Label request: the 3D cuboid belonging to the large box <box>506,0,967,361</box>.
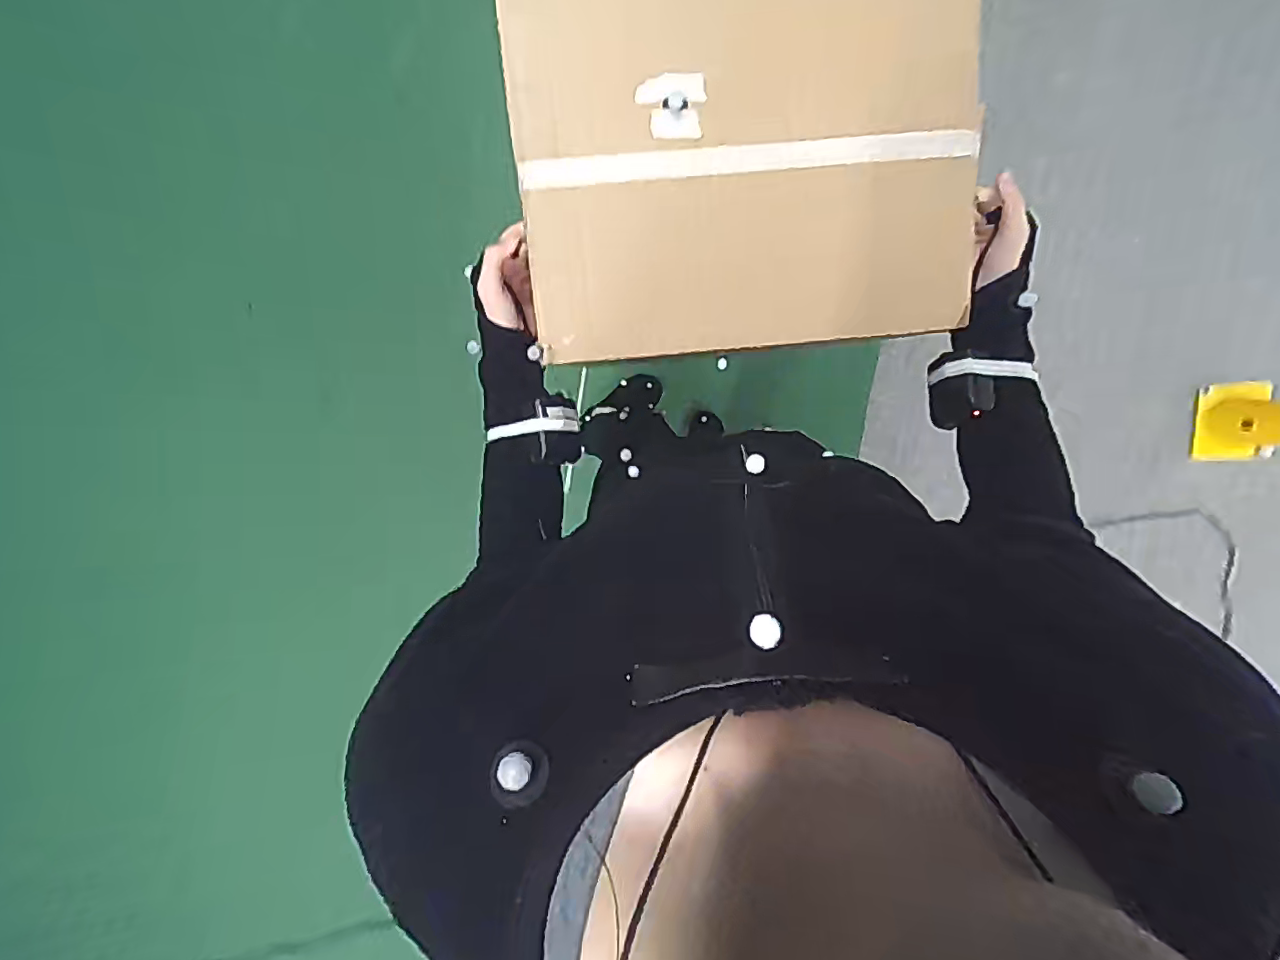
[{"bbox_3d":[0.090,-0.312,0.632,0.408,0.320,0.320,-5,101,-2],"label":"large box"}]
